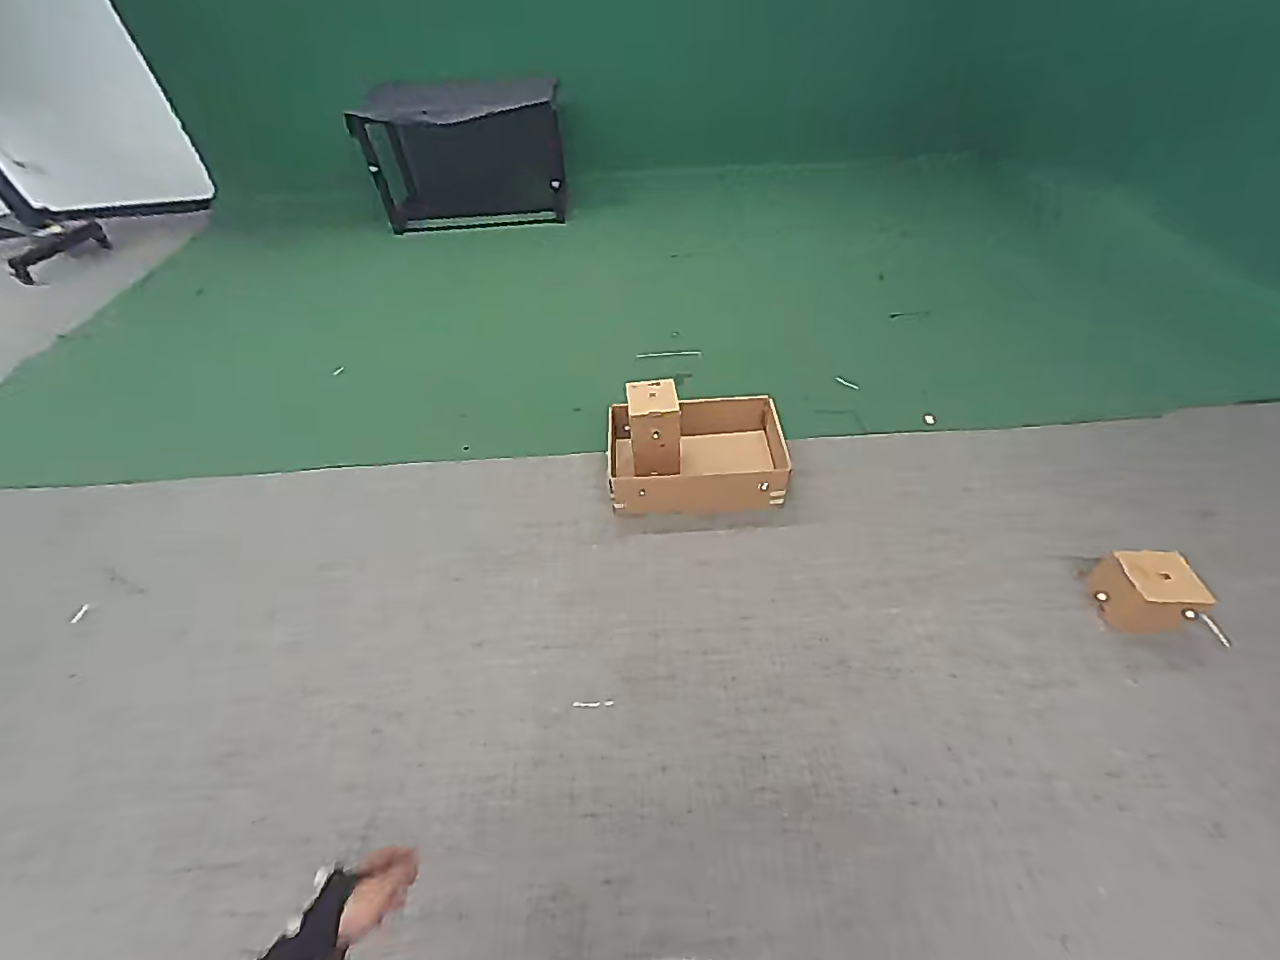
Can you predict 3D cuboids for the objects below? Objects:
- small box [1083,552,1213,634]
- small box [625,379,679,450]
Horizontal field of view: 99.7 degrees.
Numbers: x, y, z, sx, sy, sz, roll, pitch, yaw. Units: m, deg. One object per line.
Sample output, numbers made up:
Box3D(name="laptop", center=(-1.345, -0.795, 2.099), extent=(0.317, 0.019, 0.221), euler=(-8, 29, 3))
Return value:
Box3D(name="small box", center=(1.418, 0.321, 1.524), extent=(0.179, 0.176, 0.168), euler=(0, 46, 5))
Box3D(name="small box", center=(0.042, -0.216, 1.827), extent=(0.168, 0.176, 0.179), euler=(-5, 49, -1))
